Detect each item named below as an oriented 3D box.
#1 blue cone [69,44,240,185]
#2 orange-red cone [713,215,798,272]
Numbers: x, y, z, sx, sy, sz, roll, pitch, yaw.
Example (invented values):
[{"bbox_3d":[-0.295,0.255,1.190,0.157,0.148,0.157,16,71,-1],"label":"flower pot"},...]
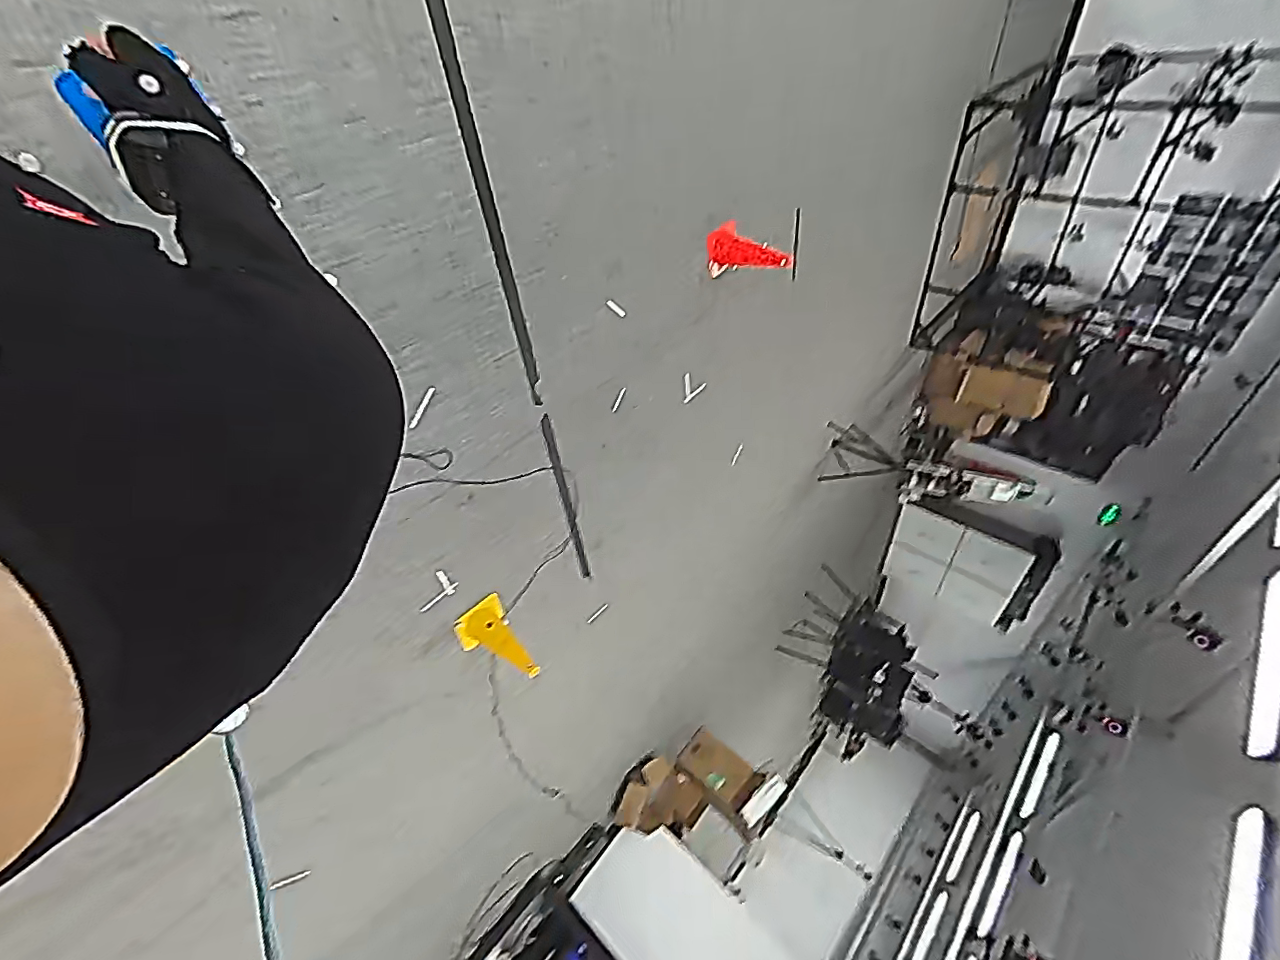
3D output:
[{"bbox_3d":[-0.764,-0.603,0.906,0.192,0.380,0.193,-44,142,-26],"label":"blue cone"},{"bbox_3d":[0.516,-0.996,2.335,0.198,0.360,0.199,-44,141,-27],"label":"orange-red cone"}]
